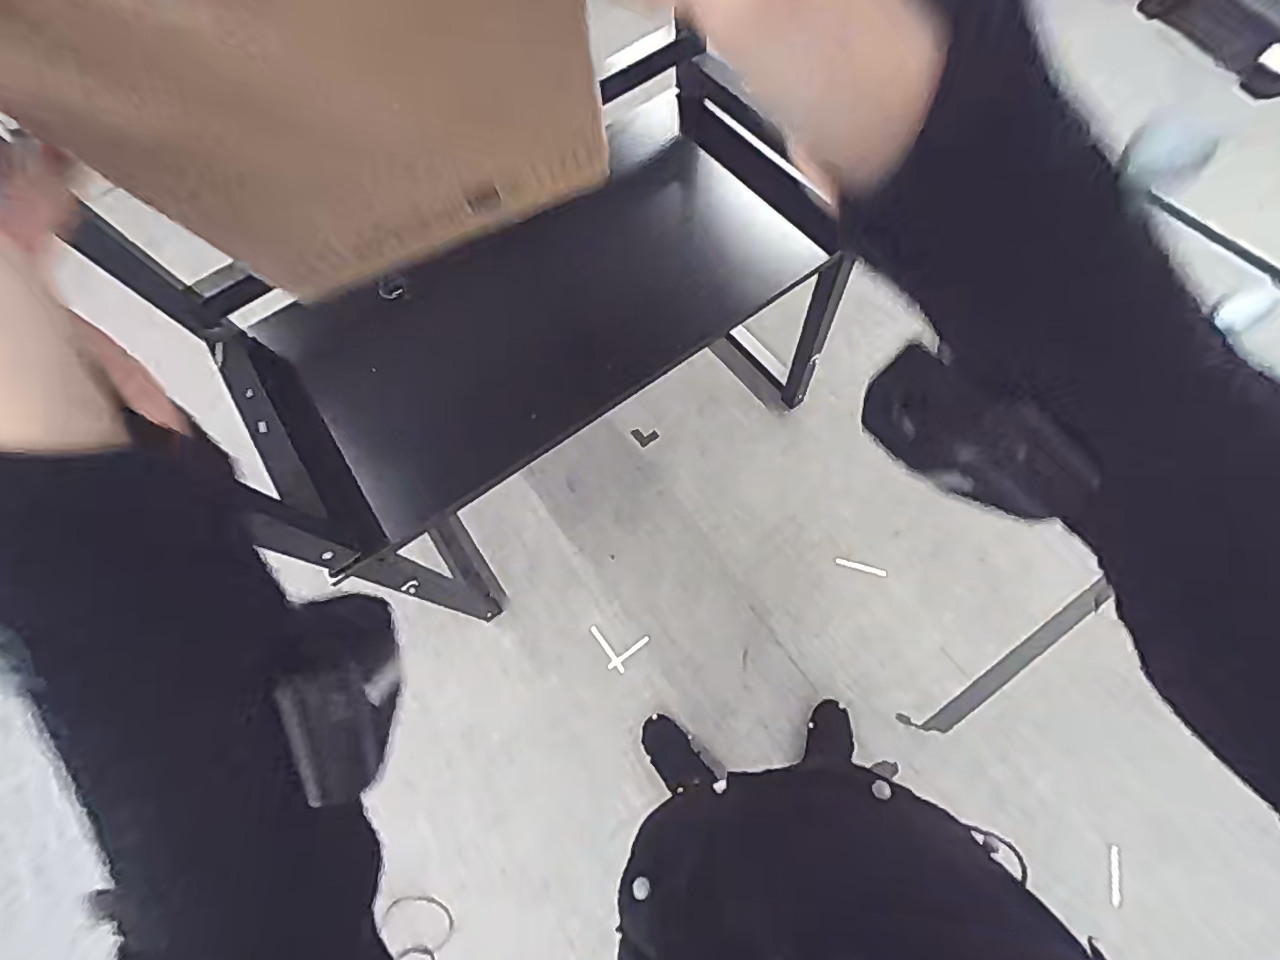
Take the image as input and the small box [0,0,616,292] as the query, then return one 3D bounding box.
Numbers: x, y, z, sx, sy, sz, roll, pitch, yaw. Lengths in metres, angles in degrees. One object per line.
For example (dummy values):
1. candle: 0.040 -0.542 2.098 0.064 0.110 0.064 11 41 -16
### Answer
1. small box: -0.117 -0.207 0.202 0.168 0.176 0.179 -22 83 0
